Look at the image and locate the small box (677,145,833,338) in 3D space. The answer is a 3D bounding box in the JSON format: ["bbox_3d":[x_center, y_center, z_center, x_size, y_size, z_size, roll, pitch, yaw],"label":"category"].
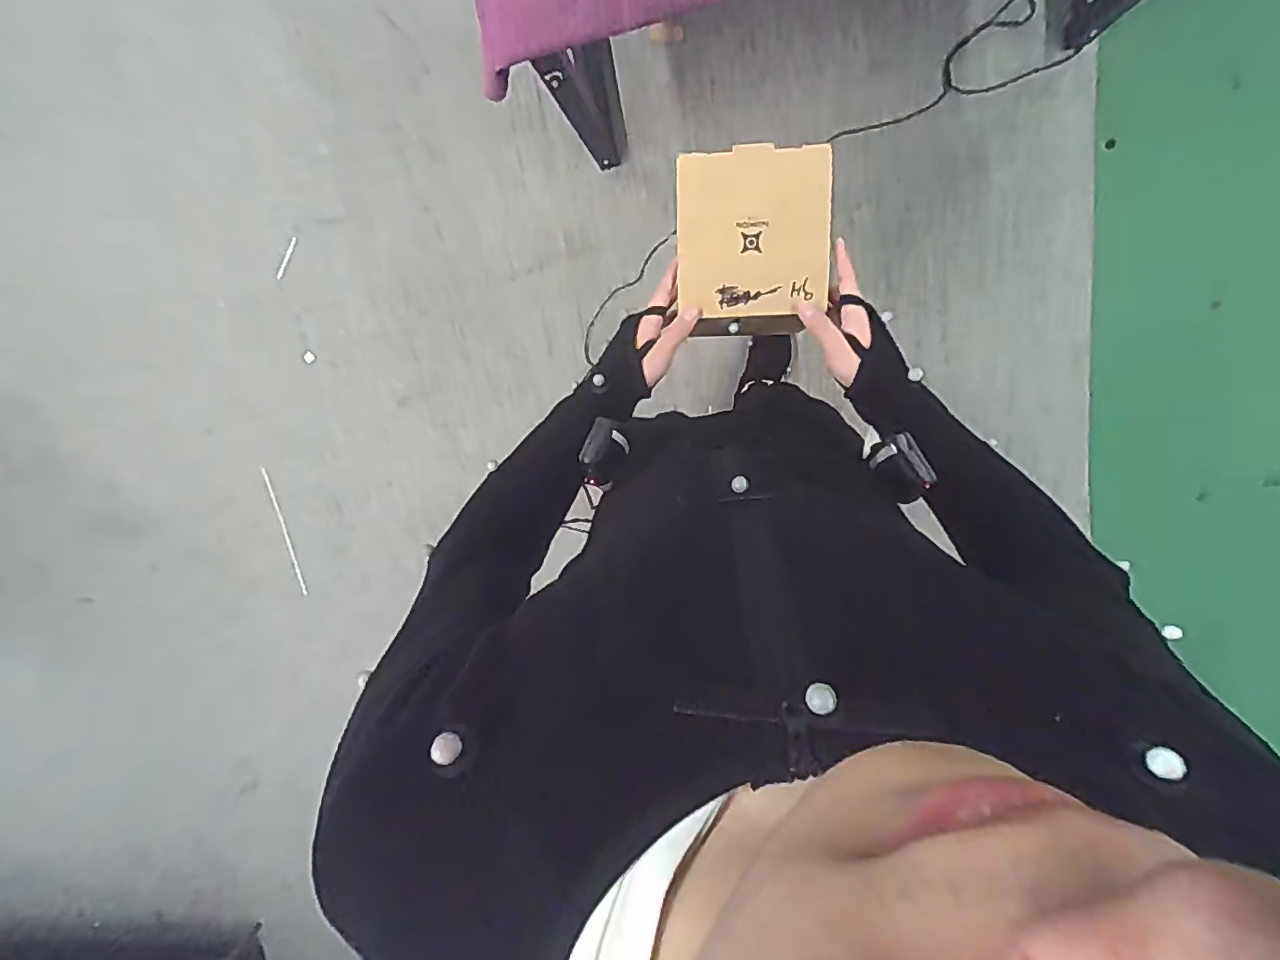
[{"bbox_3d":[0.129,-0.274,0.660,0.168,0.176,0.179,0,99,7],"label":"small box"}]

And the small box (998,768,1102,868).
[{"bbox_3d":[1.010,0.846,1.304,0.179,0.176,0.168,-39,95,14],"label":"small box"}]
